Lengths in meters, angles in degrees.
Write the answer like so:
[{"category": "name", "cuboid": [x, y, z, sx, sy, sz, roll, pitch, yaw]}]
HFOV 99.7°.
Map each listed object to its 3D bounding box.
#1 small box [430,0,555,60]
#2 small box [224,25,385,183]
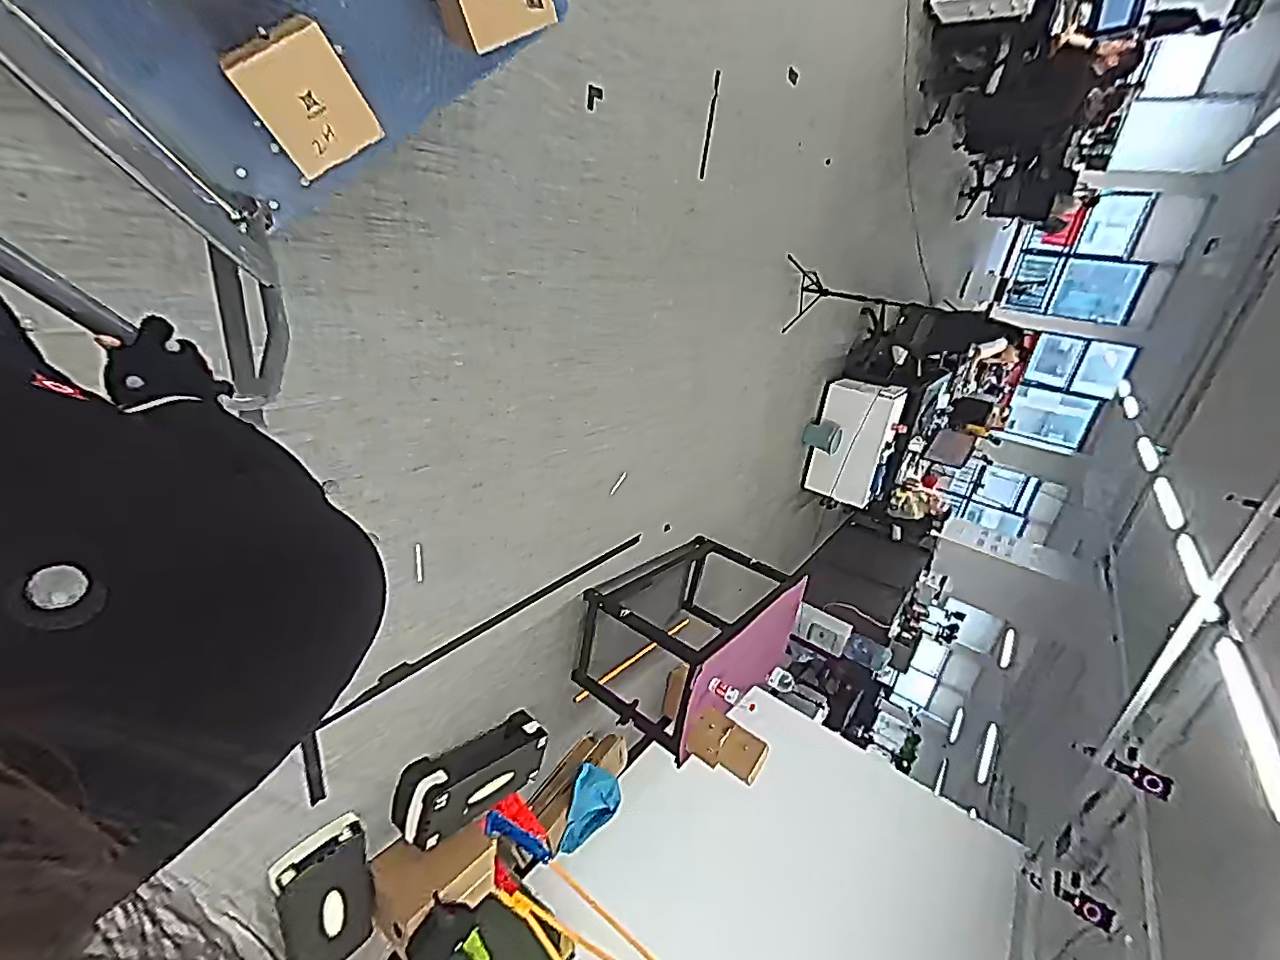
[{"category": "small box", "cuboid": [-0.289, -0.919, 1.004, 0.179, 0.176, 0.168, -32, 142, -12]}, {"category": "small box", "cuboid": [-0.599, -0.673, 0.964, 0.168, 0.176, 0.179, -36, 143, -8]}]
